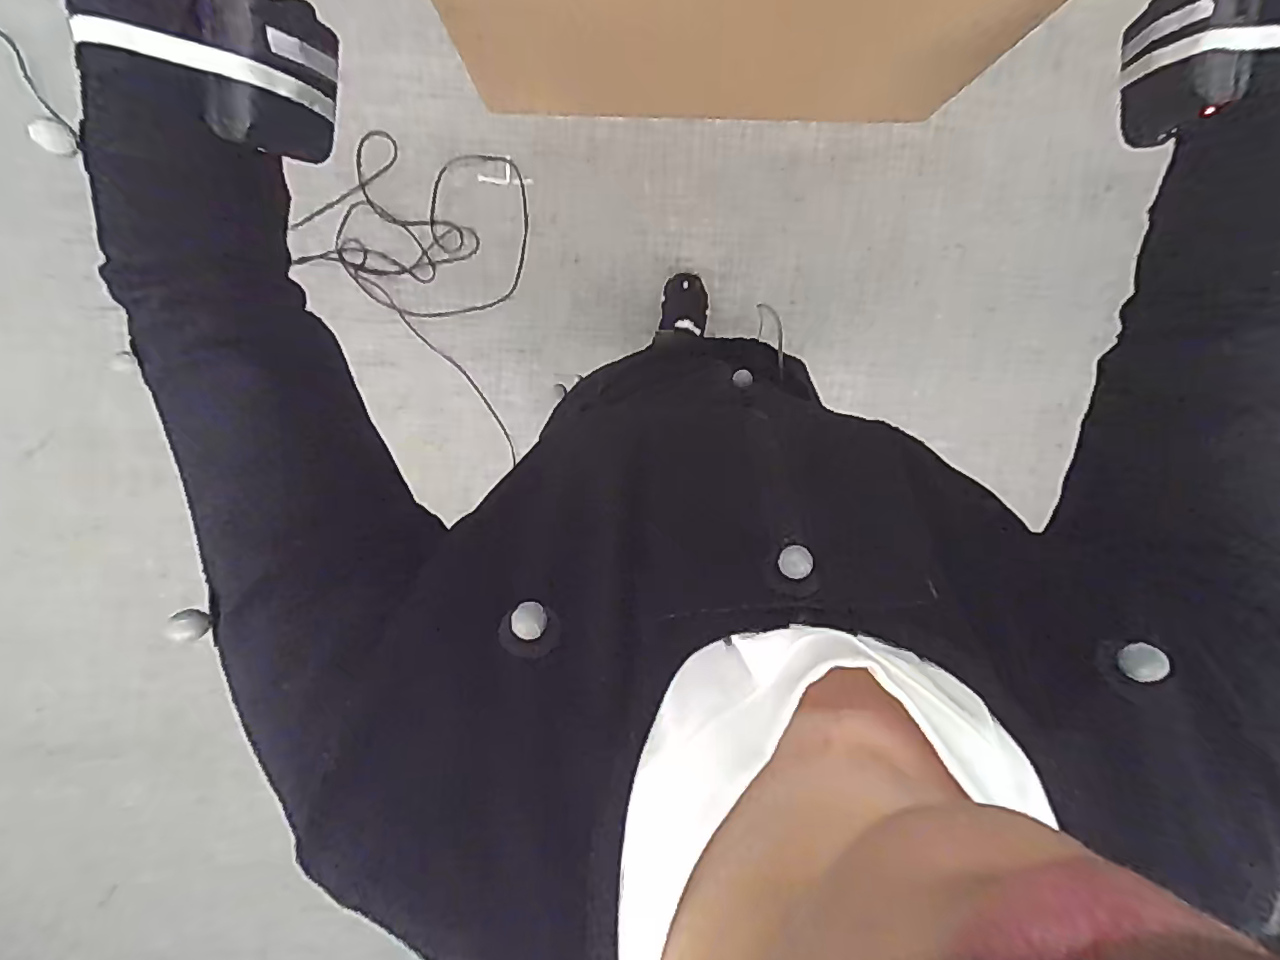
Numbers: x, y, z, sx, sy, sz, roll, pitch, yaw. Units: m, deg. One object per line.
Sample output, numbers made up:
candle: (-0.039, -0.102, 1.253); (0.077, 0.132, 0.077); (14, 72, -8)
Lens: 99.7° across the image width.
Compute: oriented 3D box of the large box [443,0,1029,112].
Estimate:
large box: (0.064, -0.460, 0.321); (0.408, 0.320, 0.320); (-1, 102, -2)
